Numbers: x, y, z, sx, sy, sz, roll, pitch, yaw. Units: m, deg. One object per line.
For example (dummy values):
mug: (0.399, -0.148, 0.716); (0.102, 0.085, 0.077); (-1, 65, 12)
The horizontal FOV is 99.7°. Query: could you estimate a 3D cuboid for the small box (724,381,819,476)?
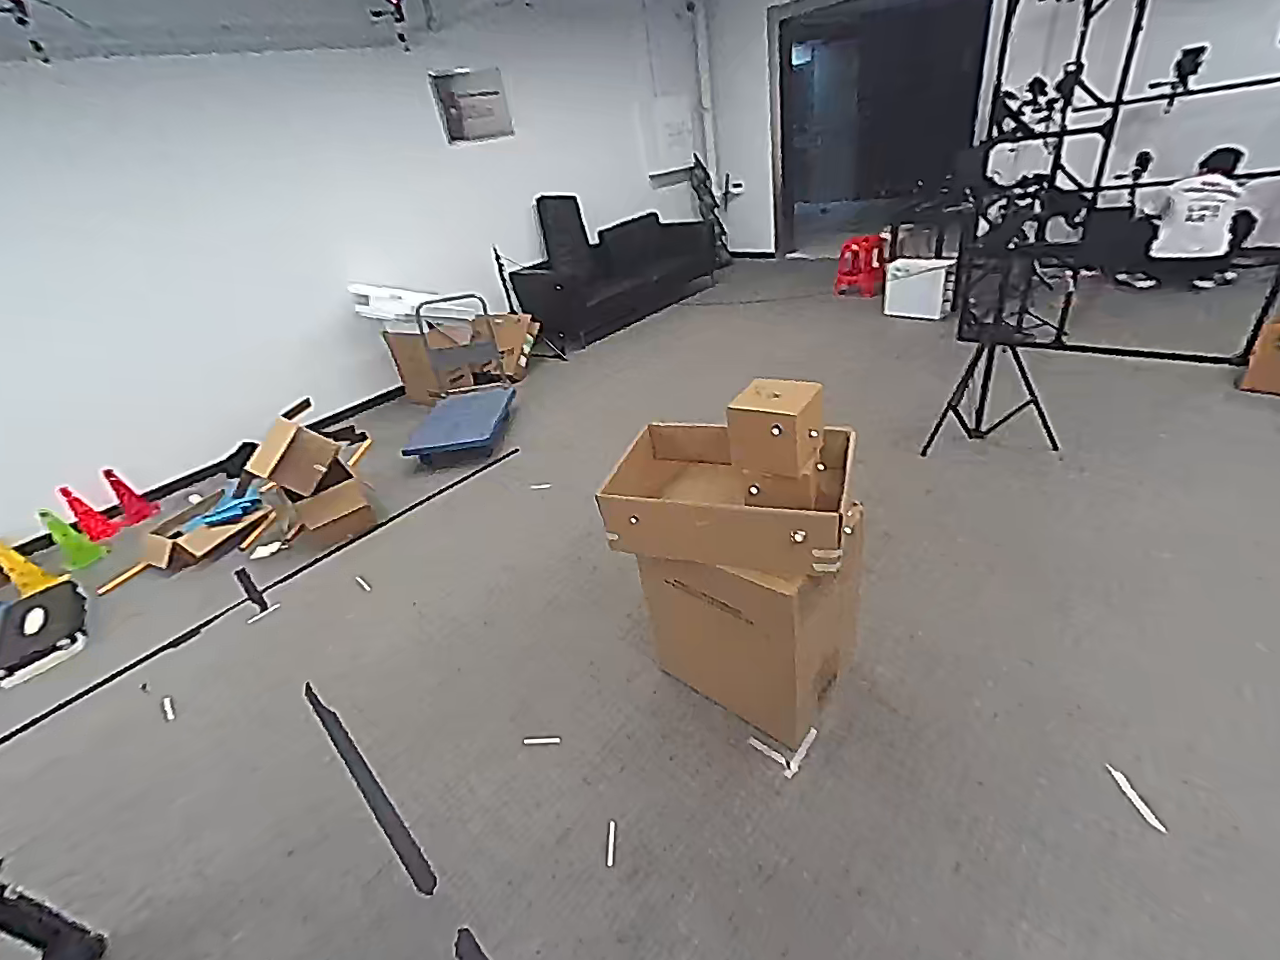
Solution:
small box: (0.326, -0.126, 1.318); (0.179, 0.176, 0.168); (12, 39, 35)
